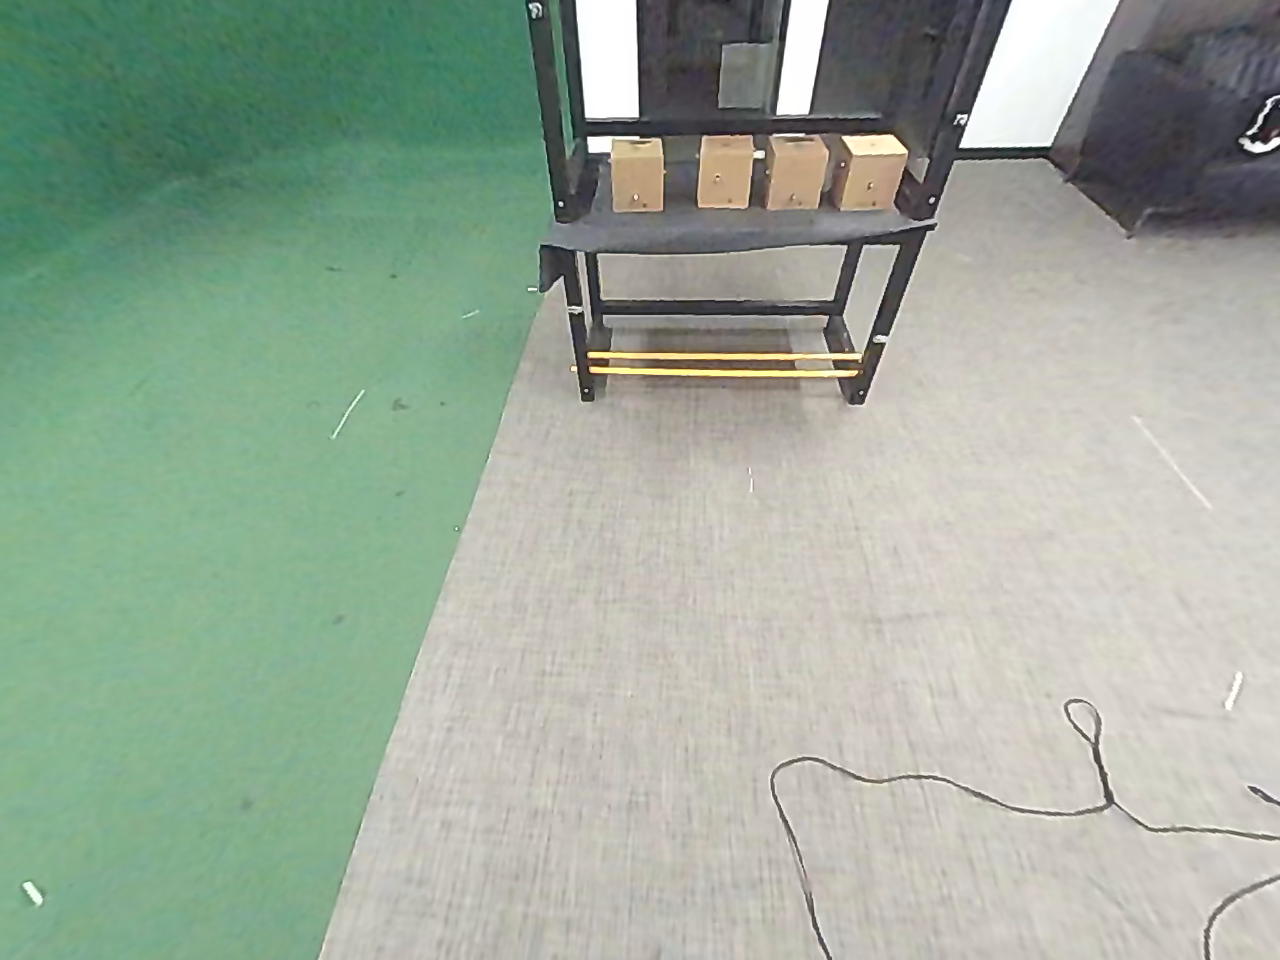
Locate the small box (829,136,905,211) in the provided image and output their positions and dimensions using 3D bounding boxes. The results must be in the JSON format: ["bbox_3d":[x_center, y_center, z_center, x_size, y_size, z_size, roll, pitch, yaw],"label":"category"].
[{"bbox_3d":[0.723,-0.984,1.741,0.168,0.176,0.179,0,48,2],"label":"small box"}]

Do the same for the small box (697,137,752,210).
[{"bbox_3d":[0.278,-1.012,1.788,0.168,0.176,0.179,4,48,5],"label":"small box"}]

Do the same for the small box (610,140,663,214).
[{"bbox_3d":[-0.010,-0.999,1.783,0.168,0.176,0.179,-2,49,0],"label":"small box"}]
